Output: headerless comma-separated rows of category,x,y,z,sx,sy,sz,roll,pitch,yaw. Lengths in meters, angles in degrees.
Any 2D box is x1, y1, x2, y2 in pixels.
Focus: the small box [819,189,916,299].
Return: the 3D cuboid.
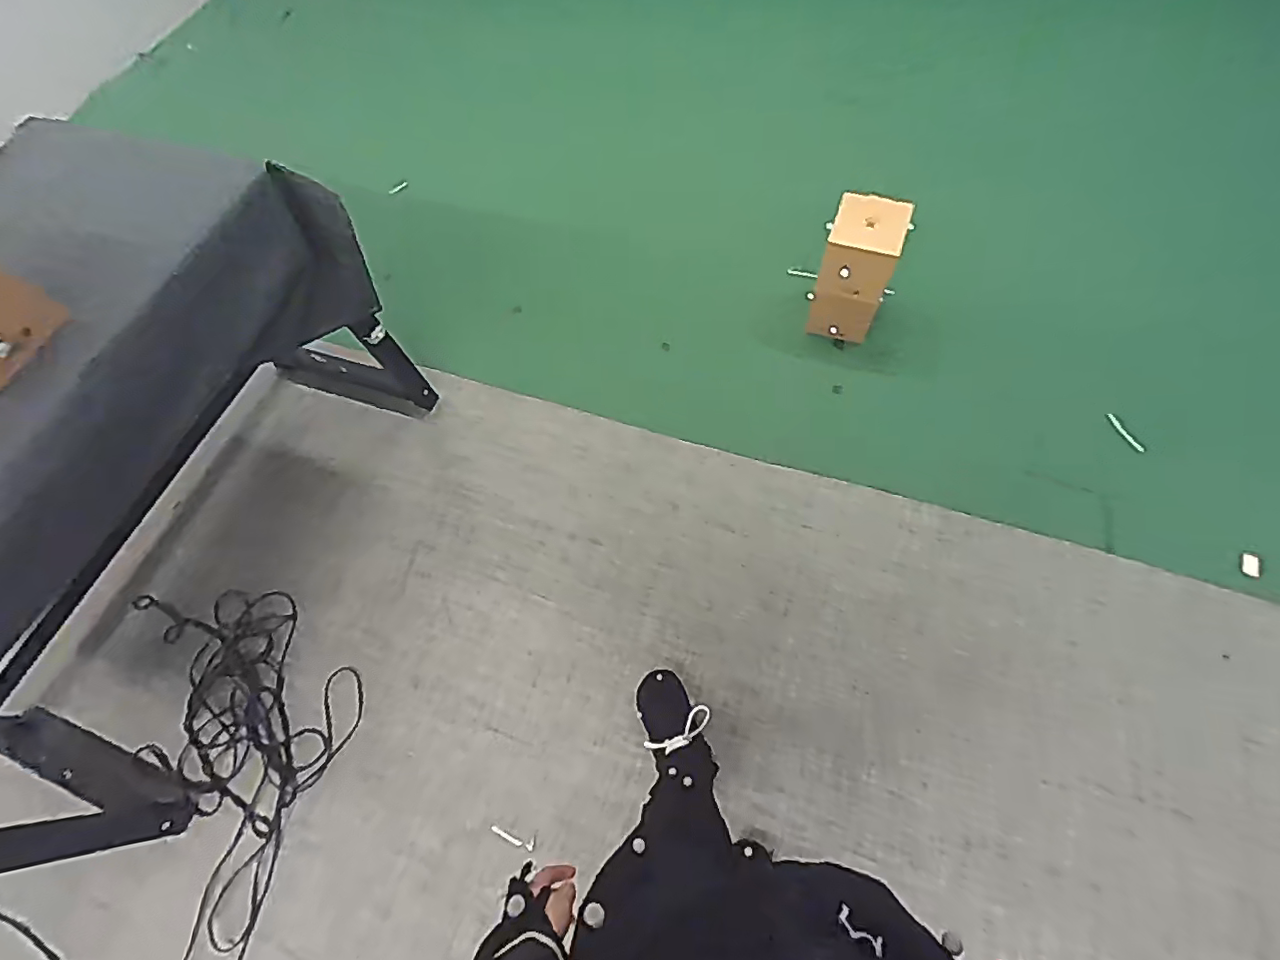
small box,0.558,-0.582,1.347,0.168,0.176,0.179,18,69,14
